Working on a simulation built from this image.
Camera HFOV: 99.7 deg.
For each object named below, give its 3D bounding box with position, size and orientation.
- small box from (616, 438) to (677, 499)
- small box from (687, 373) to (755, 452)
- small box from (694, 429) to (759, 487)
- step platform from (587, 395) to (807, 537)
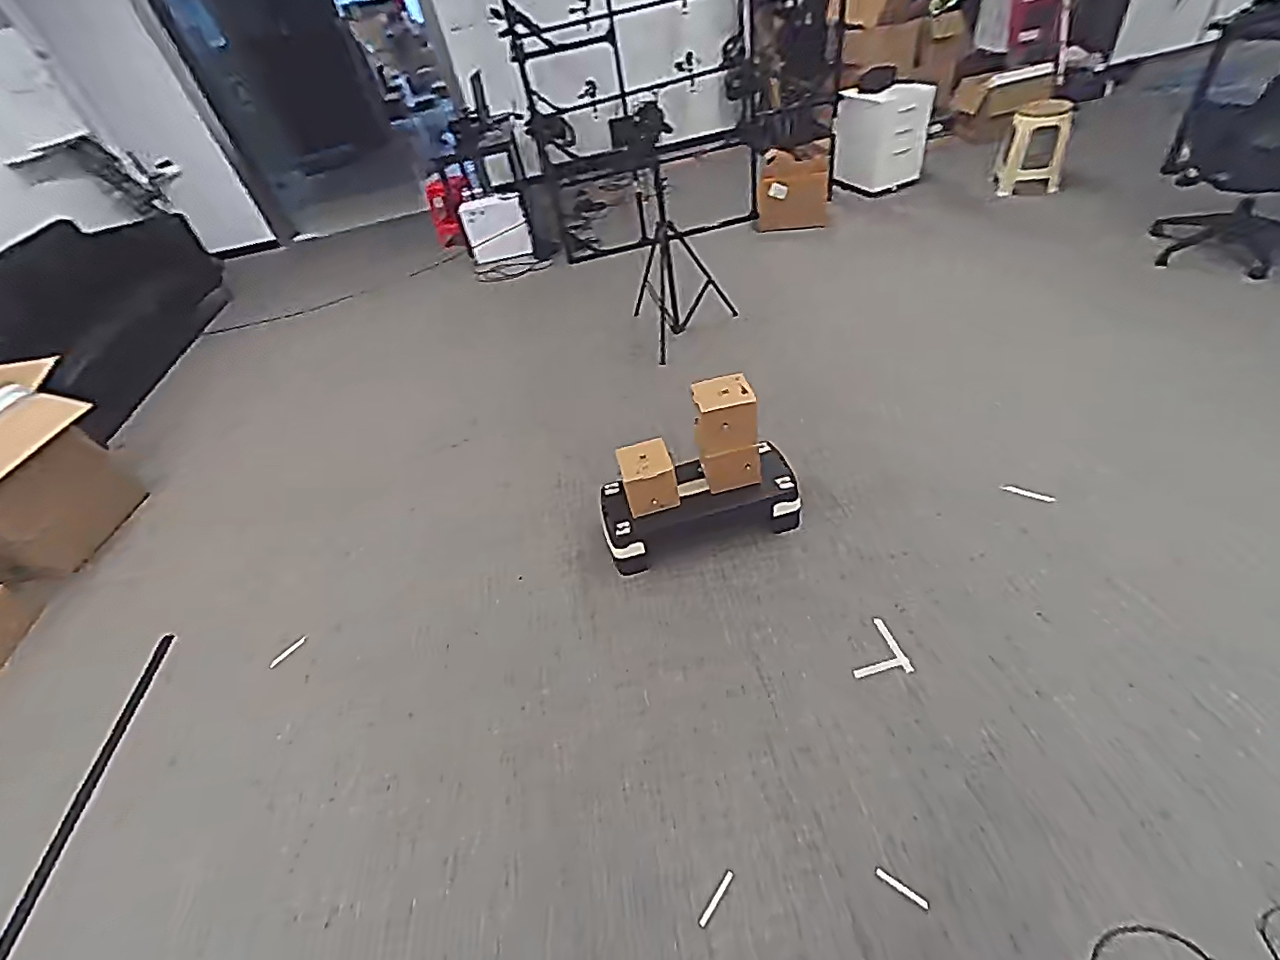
[{"bbox_3d":[0.020,-0.008,1.812,0.168,0.176,0.179,-16,43,-2],"label":"small box"},{"bbox_3d":[0.262,-0.211,1.729,0.179,0.176,0.168,-13,43,1],"label":"small box"},{"bbox_3d":[0.290,-0.081,1.824,0.179,0.176,0.168,-15,42,-2],"label":"small box"},{"bbox_3d":[0.182,-0.045,1.761,0.684,0.204,0.286,-15,43,-3],"label":"step platform"}]
